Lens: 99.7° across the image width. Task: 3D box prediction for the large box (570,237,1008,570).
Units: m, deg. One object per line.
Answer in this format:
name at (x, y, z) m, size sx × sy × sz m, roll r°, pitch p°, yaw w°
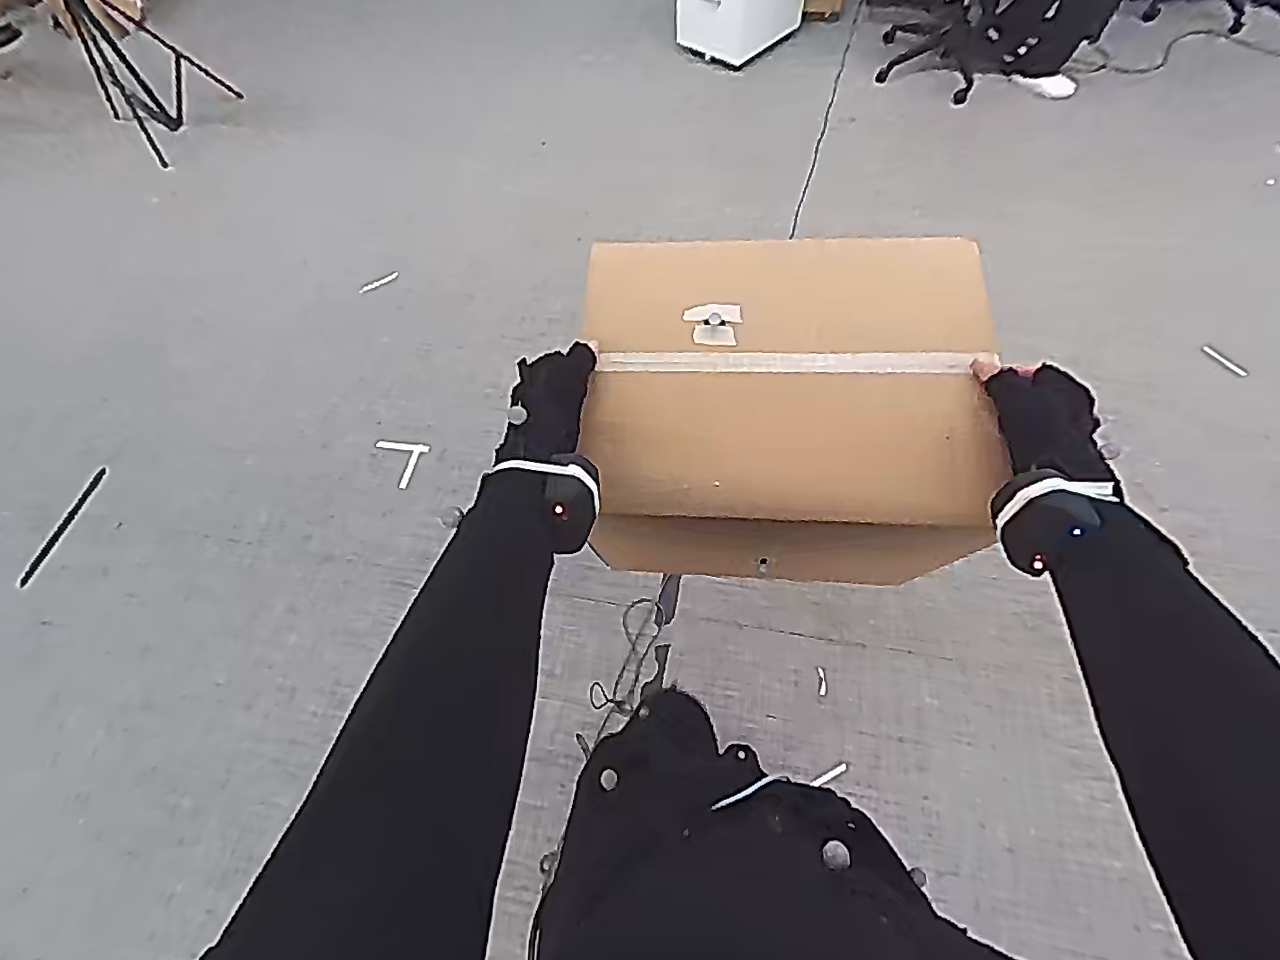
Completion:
large box at (0.155, -0.066, 0.686) m, size 0.408 × 0.320 × 0.320 m, roll 1°, pitch 70°, yaw 8°
